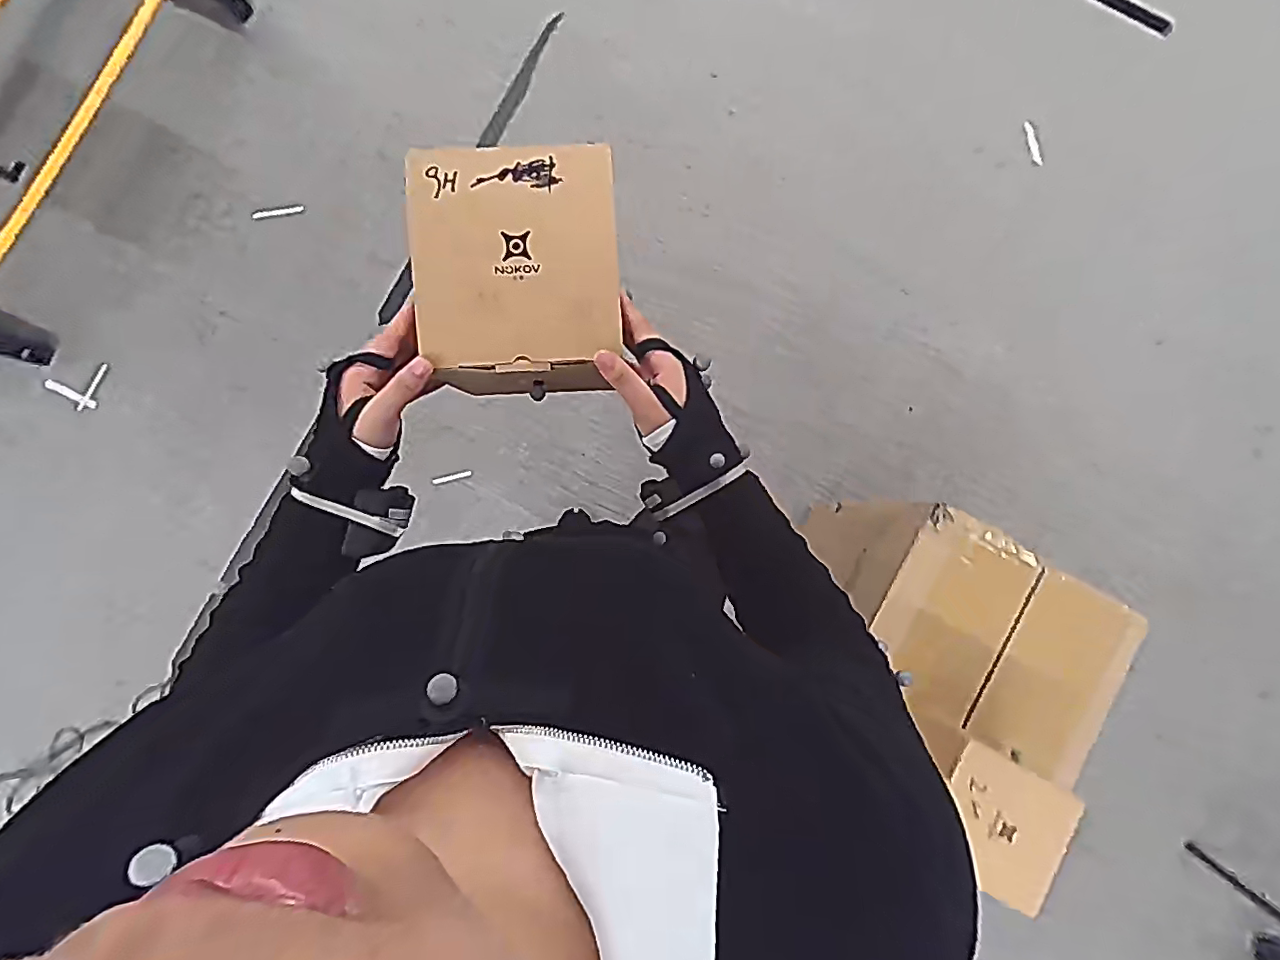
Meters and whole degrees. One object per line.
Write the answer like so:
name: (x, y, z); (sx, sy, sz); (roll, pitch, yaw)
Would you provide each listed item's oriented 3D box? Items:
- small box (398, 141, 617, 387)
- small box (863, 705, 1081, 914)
small box: (-0.108, -0.184, 0.514); (0.168, 0.176, 0.179); (-4, 93, -3)
small box: (0.465, 0.457, 0.785); (0.179, 0.176, 0.168); (29, 85, 2)
